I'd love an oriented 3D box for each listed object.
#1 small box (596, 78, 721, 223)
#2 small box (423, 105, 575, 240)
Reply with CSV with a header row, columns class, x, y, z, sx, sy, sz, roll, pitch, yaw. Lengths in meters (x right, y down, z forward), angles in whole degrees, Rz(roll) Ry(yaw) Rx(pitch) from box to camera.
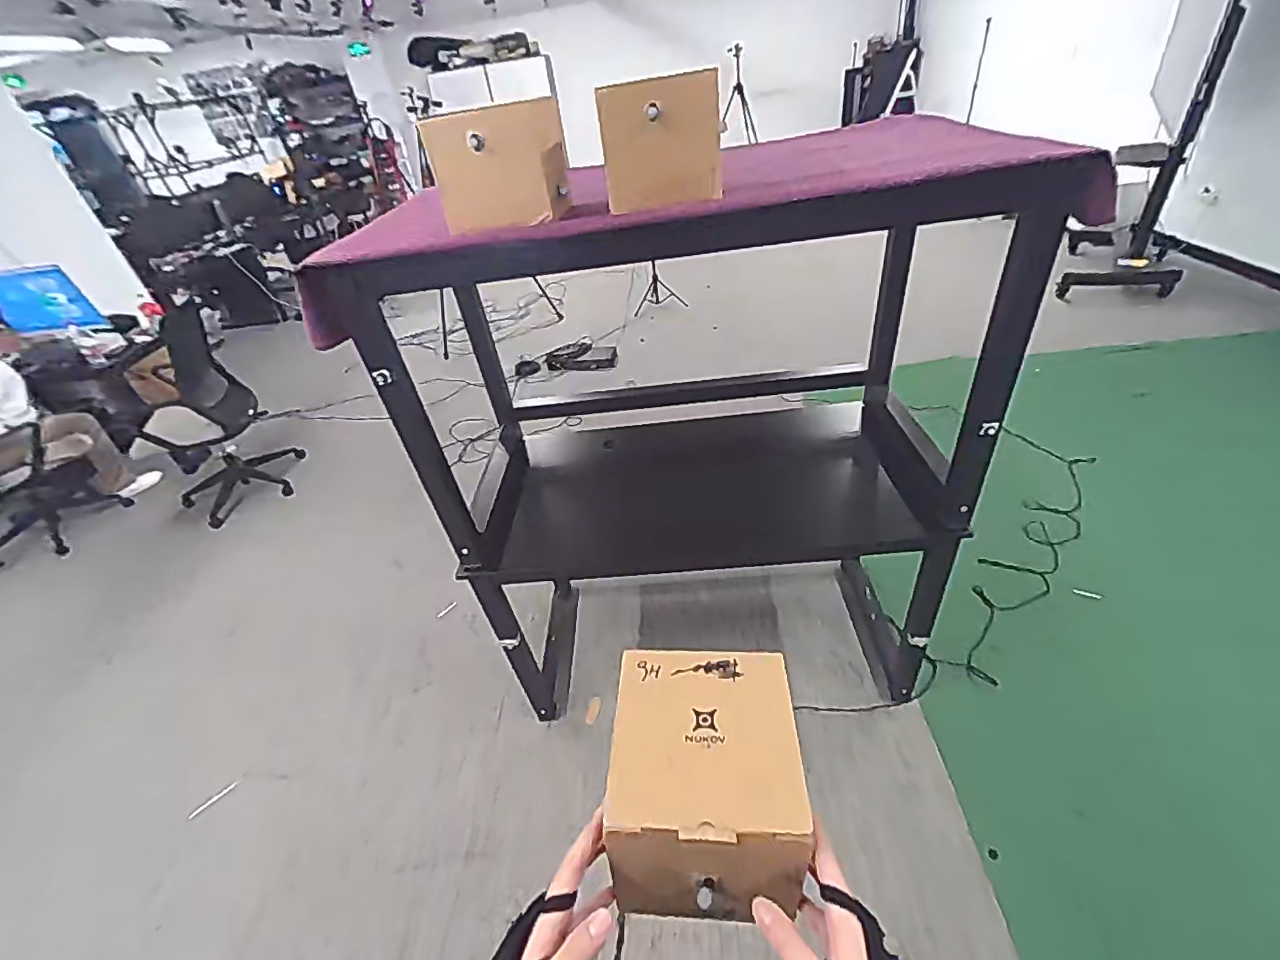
class,x,y,z,sx,sy,sz,roll,pitch,yaw
small box,0.036,-0.529,0.870,0.179,0.176,0.168,-6,36,5
small box,-0.219,-0.506,0.894,0.179,0.176,0.168,-2,37,8
